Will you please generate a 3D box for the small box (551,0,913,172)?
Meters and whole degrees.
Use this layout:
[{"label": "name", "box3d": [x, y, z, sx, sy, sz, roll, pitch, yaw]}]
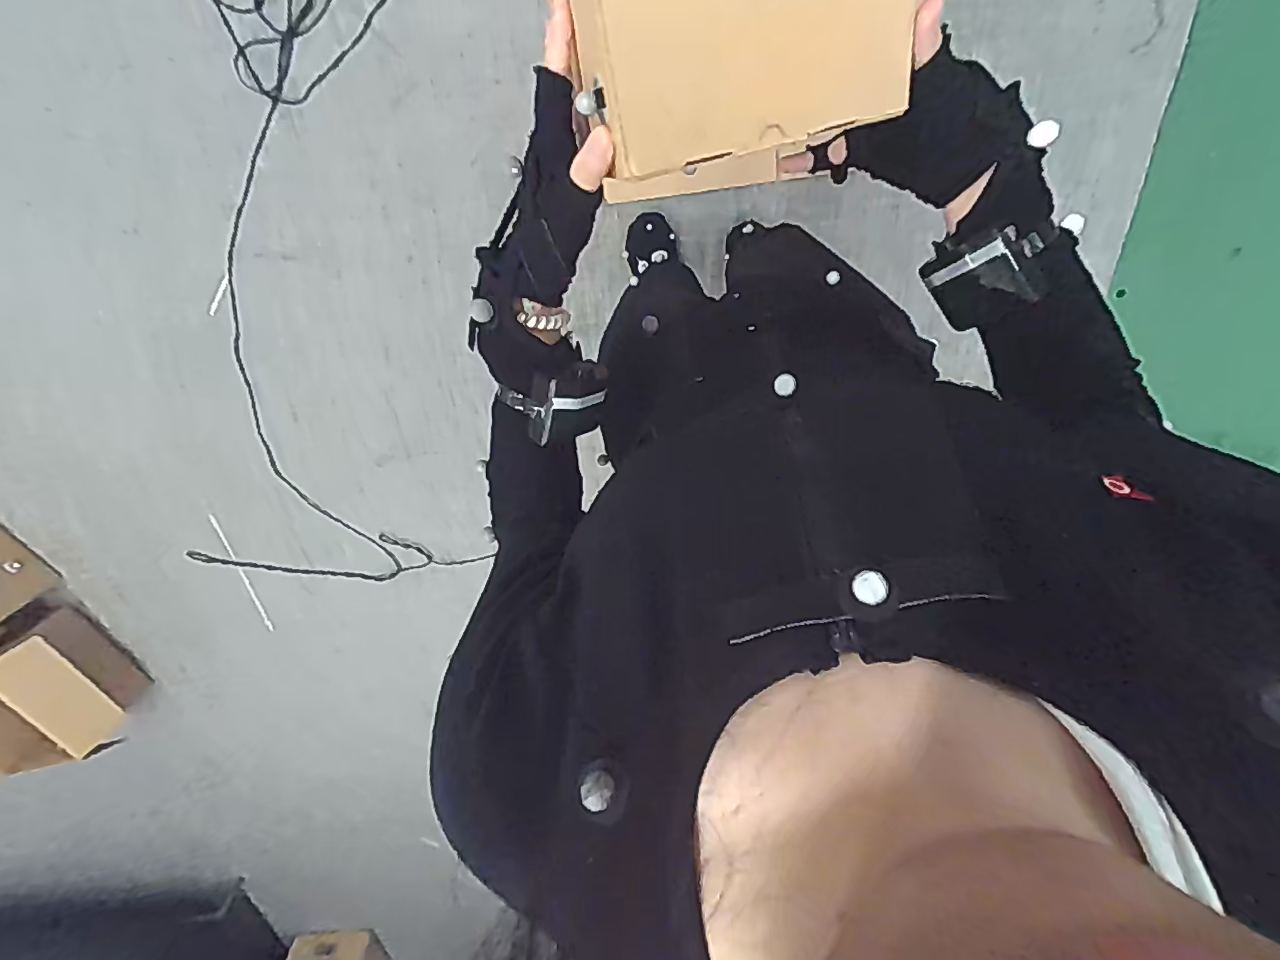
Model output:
[{"label": "small box", "box3d": [0.038, -0.300, 0.321, 0.168, 0.176, 0.179, -18, 126, -7]}]
